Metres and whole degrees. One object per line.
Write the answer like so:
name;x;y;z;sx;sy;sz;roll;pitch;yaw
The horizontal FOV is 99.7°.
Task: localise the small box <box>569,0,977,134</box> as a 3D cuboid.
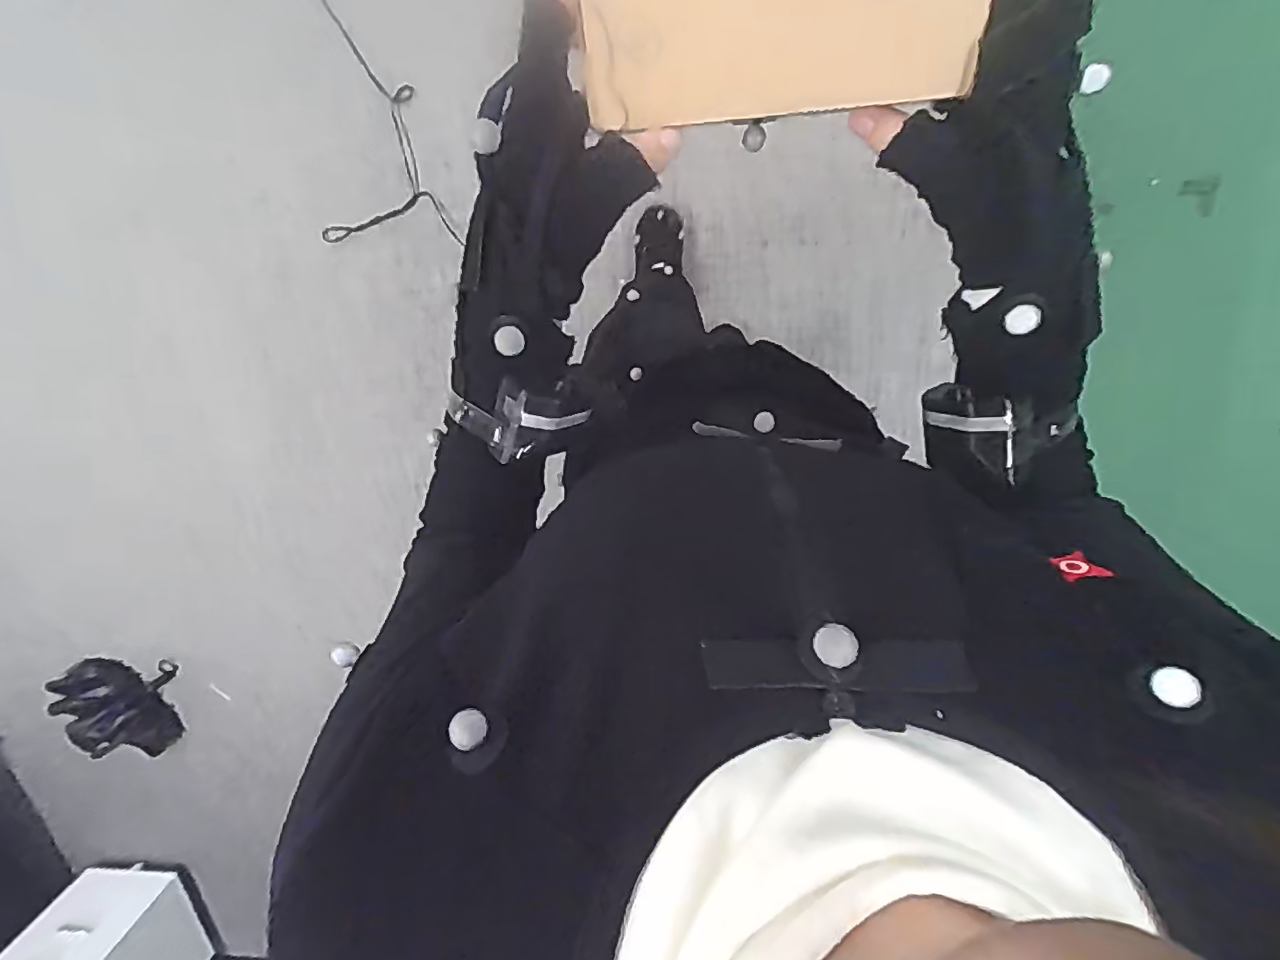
small box;0.055;-0.283;0.277;0.179;0.176;0.168;-4;123;4
